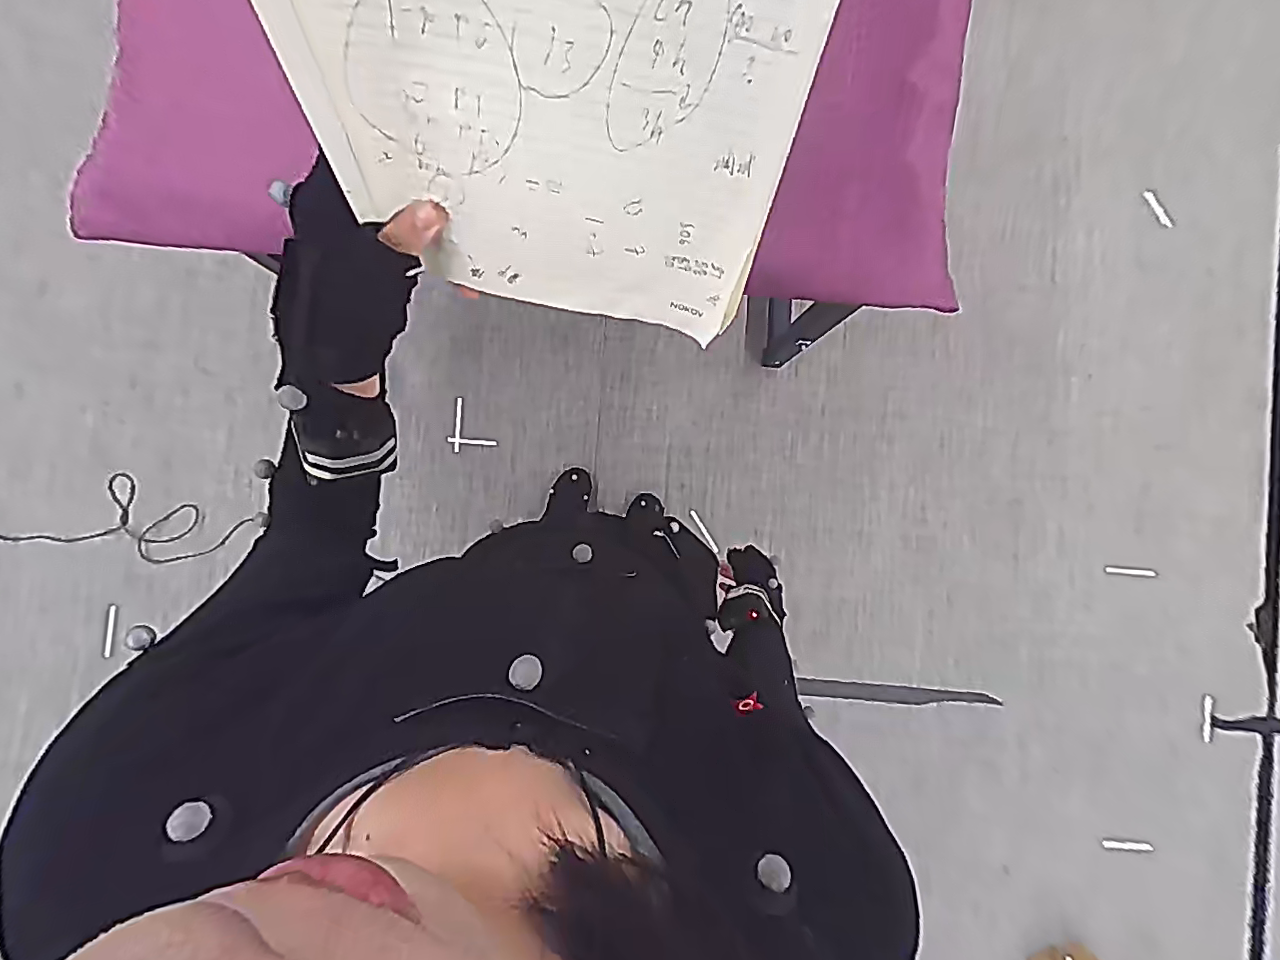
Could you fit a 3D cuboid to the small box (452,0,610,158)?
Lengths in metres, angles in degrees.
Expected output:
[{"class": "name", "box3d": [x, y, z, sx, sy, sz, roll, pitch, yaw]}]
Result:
[{"class": "small box", "box3d": [-0.132, -0.560, 0.716, 0.179, 0.176, 0.168, 4, 88, -3]}]

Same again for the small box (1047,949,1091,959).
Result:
[{"class": "small box", "box3d": [1.228, 1.447, 1.470, 0.168, 0.176, 0.179, -18, 89, -3]}]
